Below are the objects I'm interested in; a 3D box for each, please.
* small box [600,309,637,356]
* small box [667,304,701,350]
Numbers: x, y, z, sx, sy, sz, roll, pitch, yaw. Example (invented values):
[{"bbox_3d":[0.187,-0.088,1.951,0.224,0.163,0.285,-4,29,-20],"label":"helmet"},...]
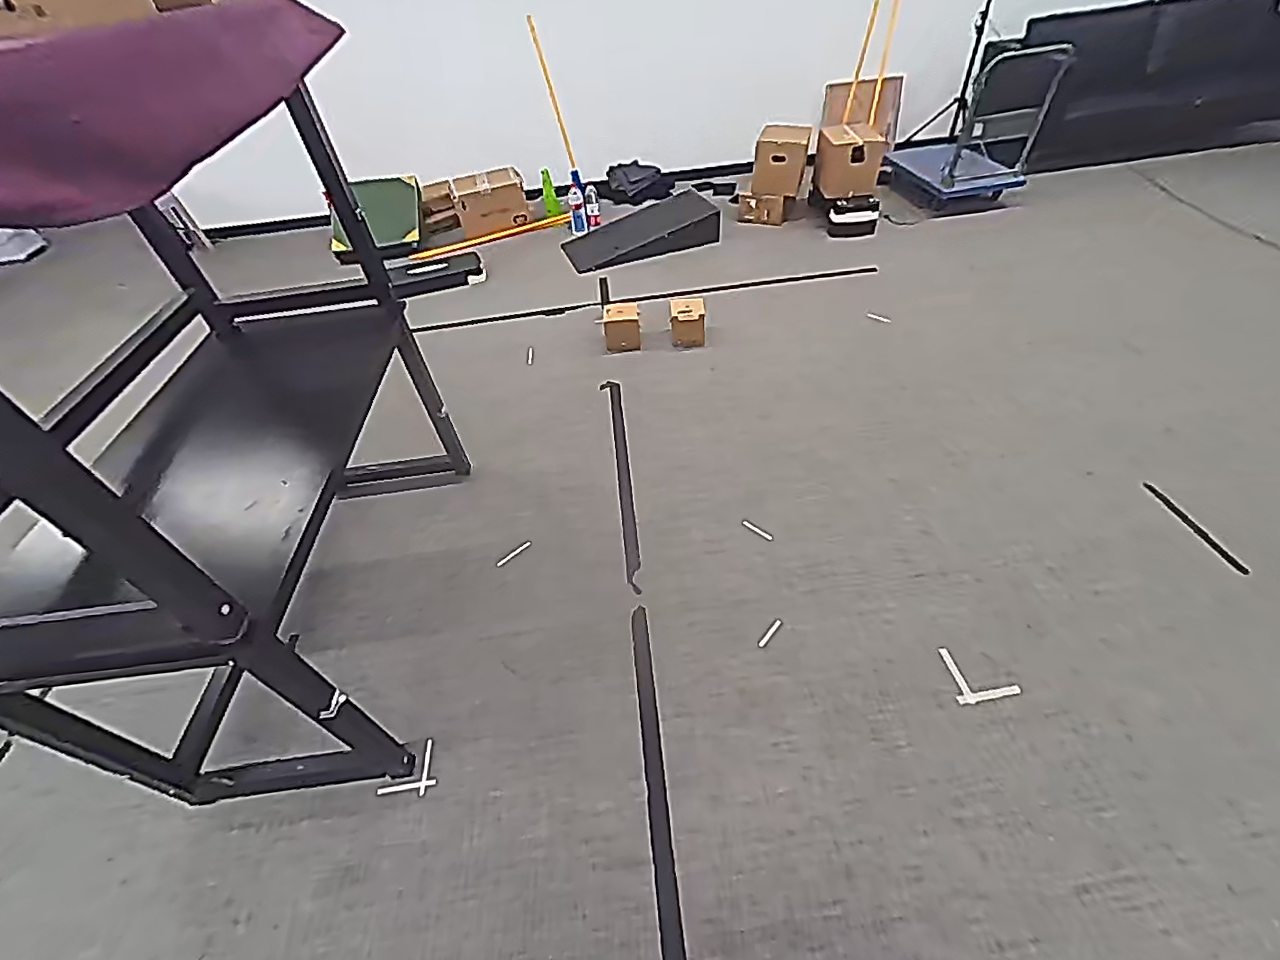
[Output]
[{"bbox_3d":[-0.106,-0.753,2.767,0.179,0.176,0.168,-3,45,2],"label":"small box"},{"bbox_3d":[0.225,-0.775,2.756,0.168,0.176,0.179,-3,44,3],"label":"small box"}]
